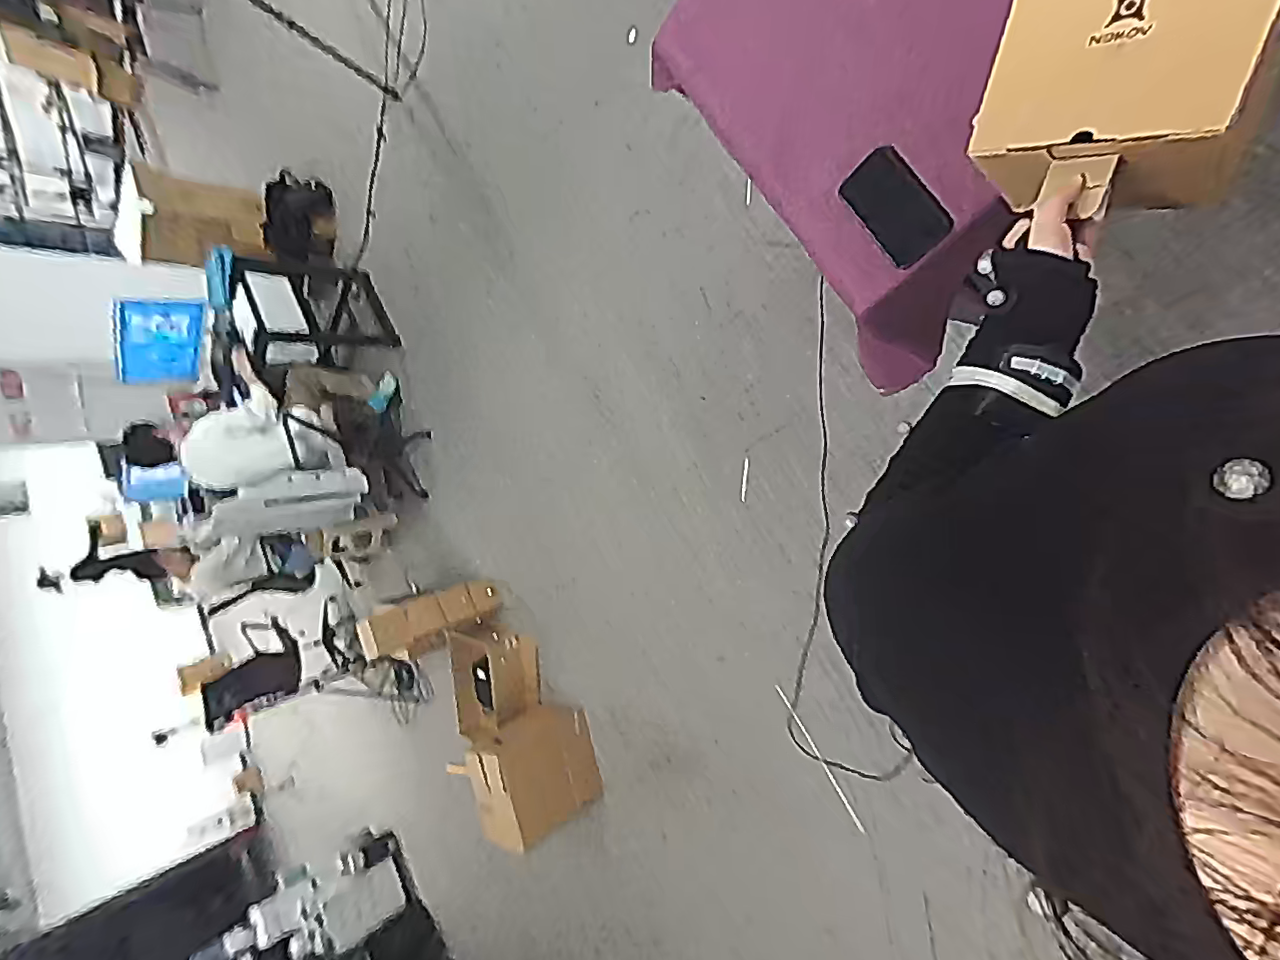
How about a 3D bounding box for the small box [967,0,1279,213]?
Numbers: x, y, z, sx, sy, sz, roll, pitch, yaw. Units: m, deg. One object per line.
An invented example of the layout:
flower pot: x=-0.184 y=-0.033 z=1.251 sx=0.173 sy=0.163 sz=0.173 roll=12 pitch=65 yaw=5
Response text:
small box: x=0.418 y=-0.347 z=0.463 sx=0.168 sy=0.176 sz=0.179 roll=25 pitch=111 yaw=43
